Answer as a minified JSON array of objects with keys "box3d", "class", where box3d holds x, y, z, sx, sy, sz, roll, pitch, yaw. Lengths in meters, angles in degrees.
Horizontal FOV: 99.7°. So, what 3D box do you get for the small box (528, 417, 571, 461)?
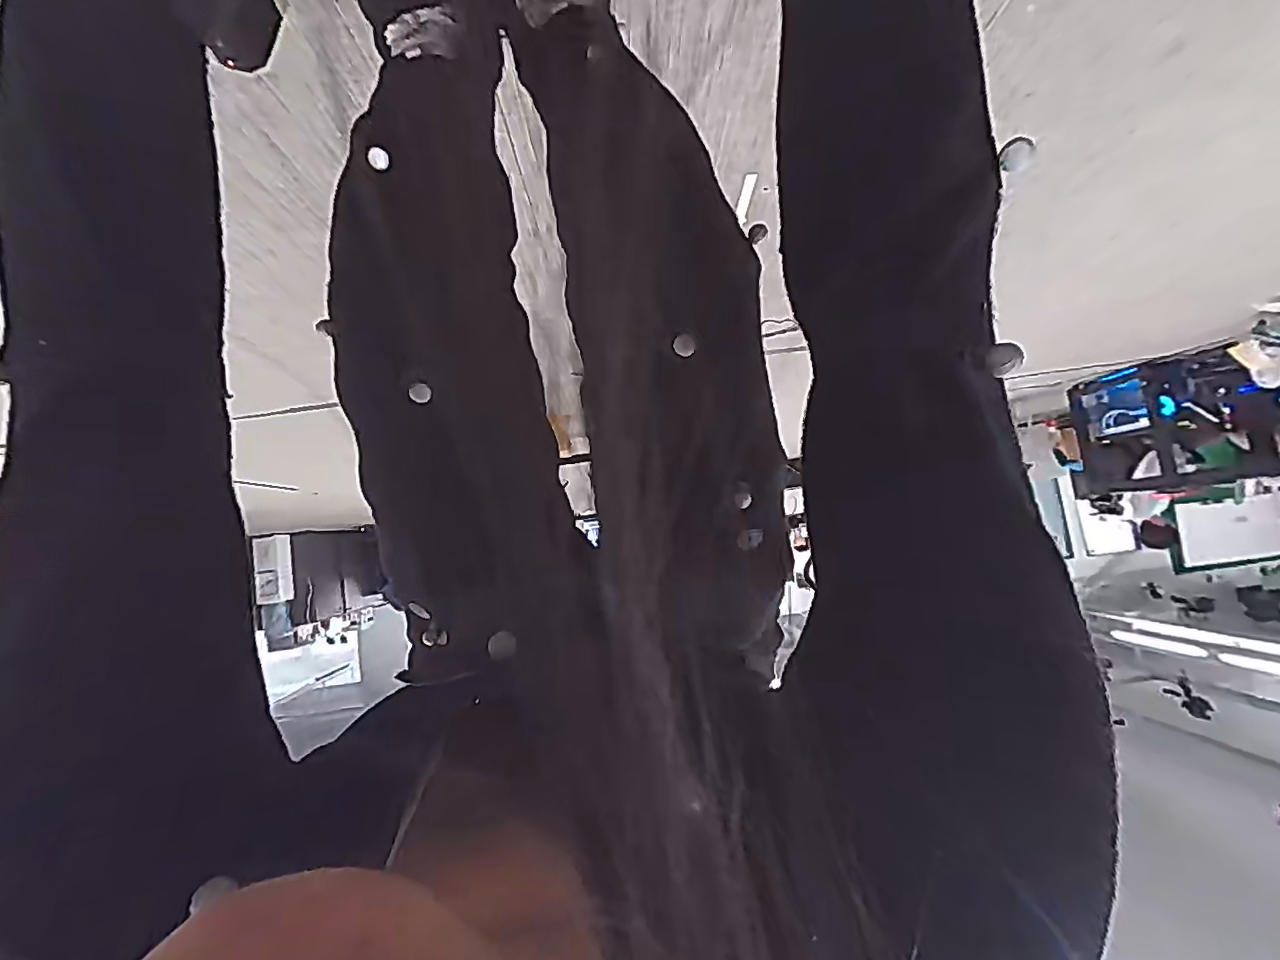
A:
[{"box3d":[-0.421,-0.190,2.518,0.168,0.176,0.179,-8,174,-2],"class":"small box"}]
